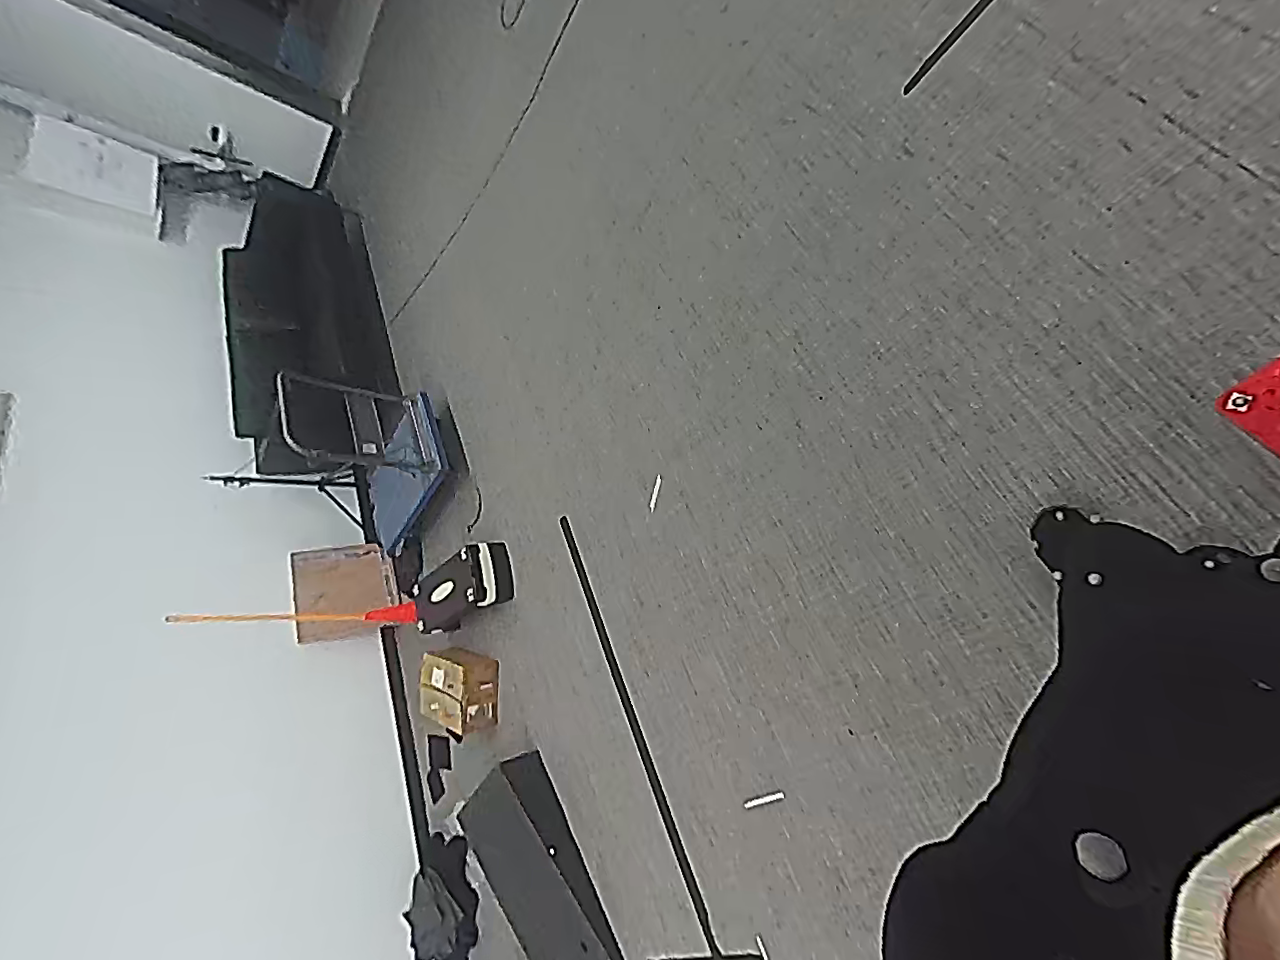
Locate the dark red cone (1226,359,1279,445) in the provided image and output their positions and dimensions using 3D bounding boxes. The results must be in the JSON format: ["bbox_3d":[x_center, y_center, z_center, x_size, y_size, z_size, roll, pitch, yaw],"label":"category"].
[{"bbox_3d":[0.985,-0.136,0.724,0.202,0.394,0.201,-50,55,30],"label":"dark red cone"}]
